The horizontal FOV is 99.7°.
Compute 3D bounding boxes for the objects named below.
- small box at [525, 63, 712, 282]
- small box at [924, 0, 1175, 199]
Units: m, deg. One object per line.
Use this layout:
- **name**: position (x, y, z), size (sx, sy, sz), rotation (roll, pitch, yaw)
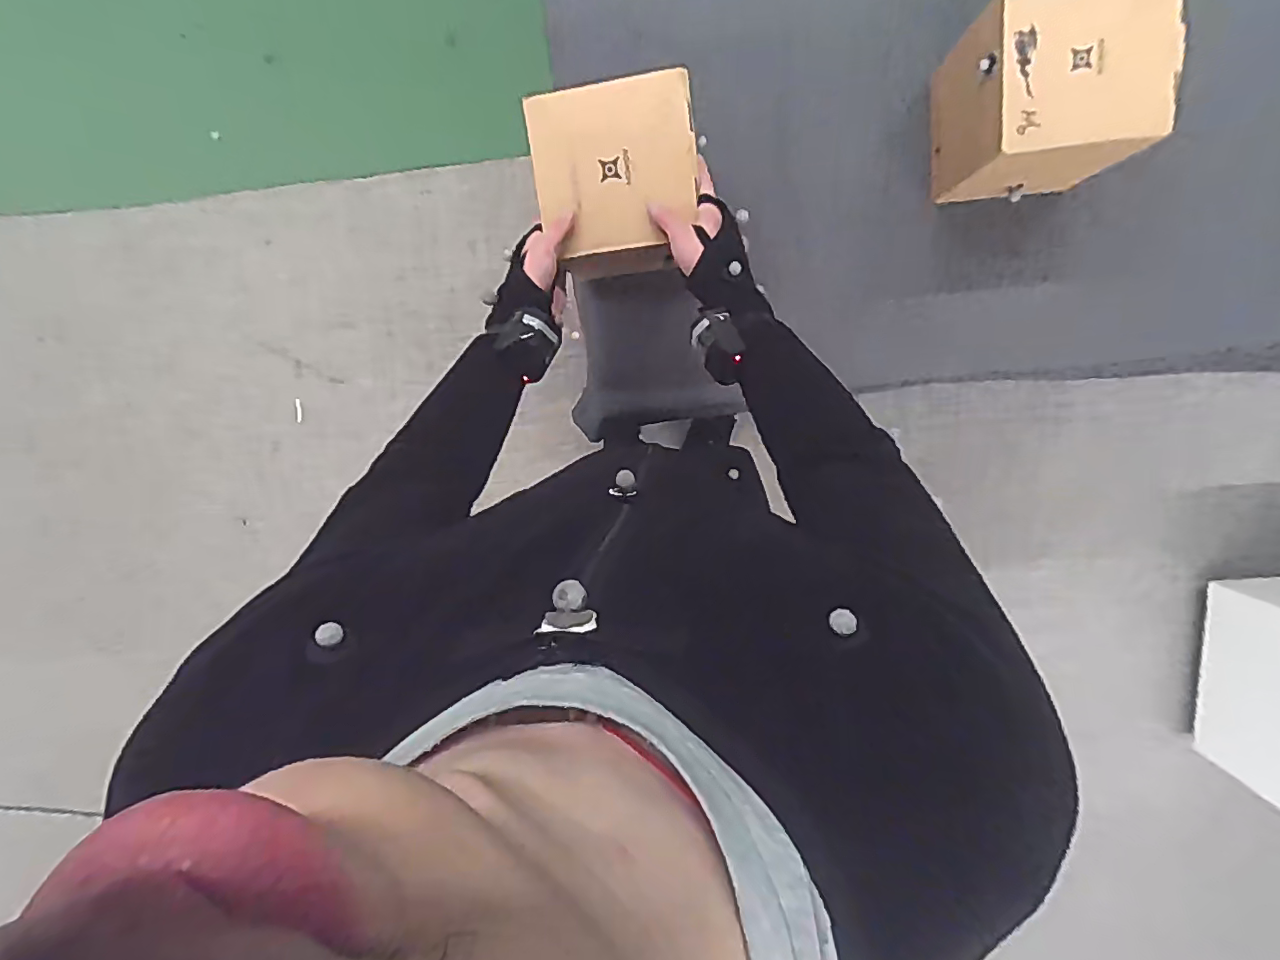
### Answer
- **small box**: position (-0.015, -0.338, 0.631), size (0.179, 0.176, 0.168), rotation (-7, 102, 7)
- **small box**: position (0.470, -0.455, 0.645), size (0.179, 0.176, 0.168), rotation (-6, 99, 1)
